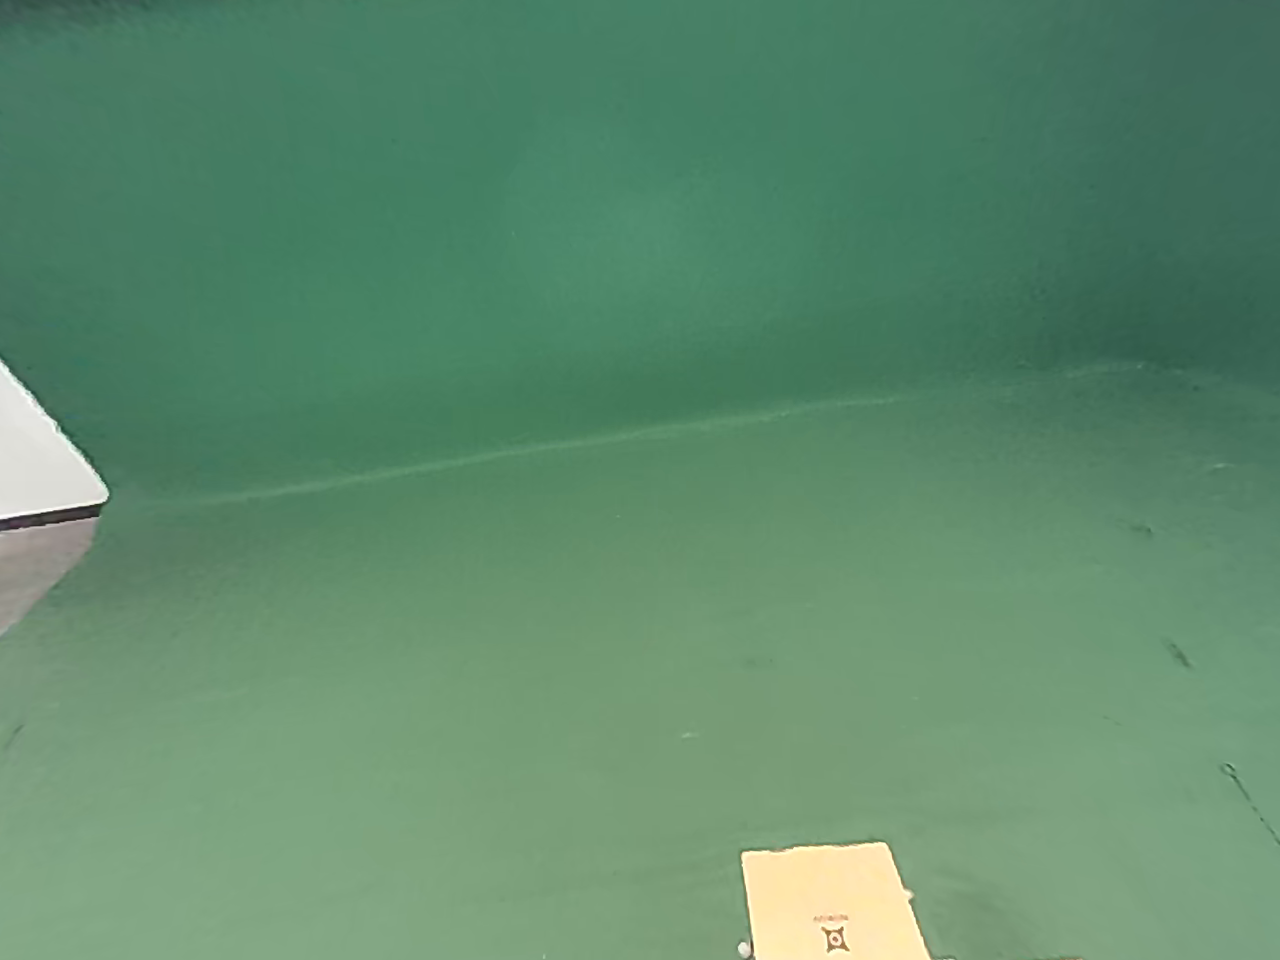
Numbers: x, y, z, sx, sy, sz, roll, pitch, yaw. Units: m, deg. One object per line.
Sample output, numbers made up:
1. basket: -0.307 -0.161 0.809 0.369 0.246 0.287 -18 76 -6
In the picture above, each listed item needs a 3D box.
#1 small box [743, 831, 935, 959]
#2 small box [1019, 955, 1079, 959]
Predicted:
1. small box: 0.208 0.514 0.570 0.168 0.176 0.179 -7 23 5
2. small box: 0.805 1.072 1.059 0.168 0.176 0.179 -7 37 1
